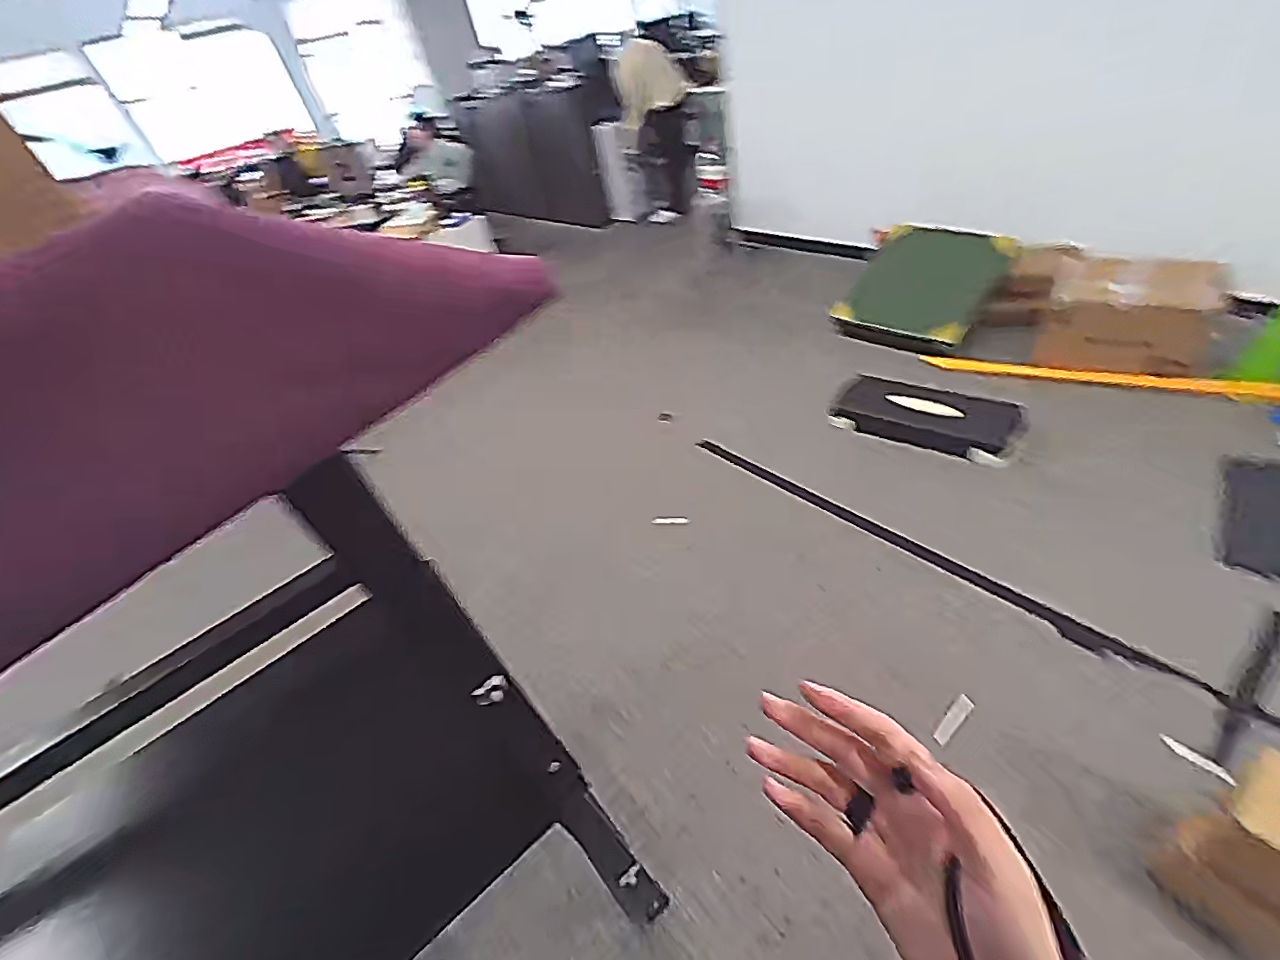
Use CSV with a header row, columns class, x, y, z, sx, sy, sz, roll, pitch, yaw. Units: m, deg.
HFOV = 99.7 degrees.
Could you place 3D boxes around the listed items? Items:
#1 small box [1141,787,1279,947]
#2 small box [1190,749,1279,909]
class,x,y,z,sx,sy,sz,roll,pitch,yaw
small box,1.106,0.722,1.008,0.168,0.176,0.179,-32,44,-19
small box,1.089,0.599,0.900,0.168,0.176,0.179,-35,43,-22
